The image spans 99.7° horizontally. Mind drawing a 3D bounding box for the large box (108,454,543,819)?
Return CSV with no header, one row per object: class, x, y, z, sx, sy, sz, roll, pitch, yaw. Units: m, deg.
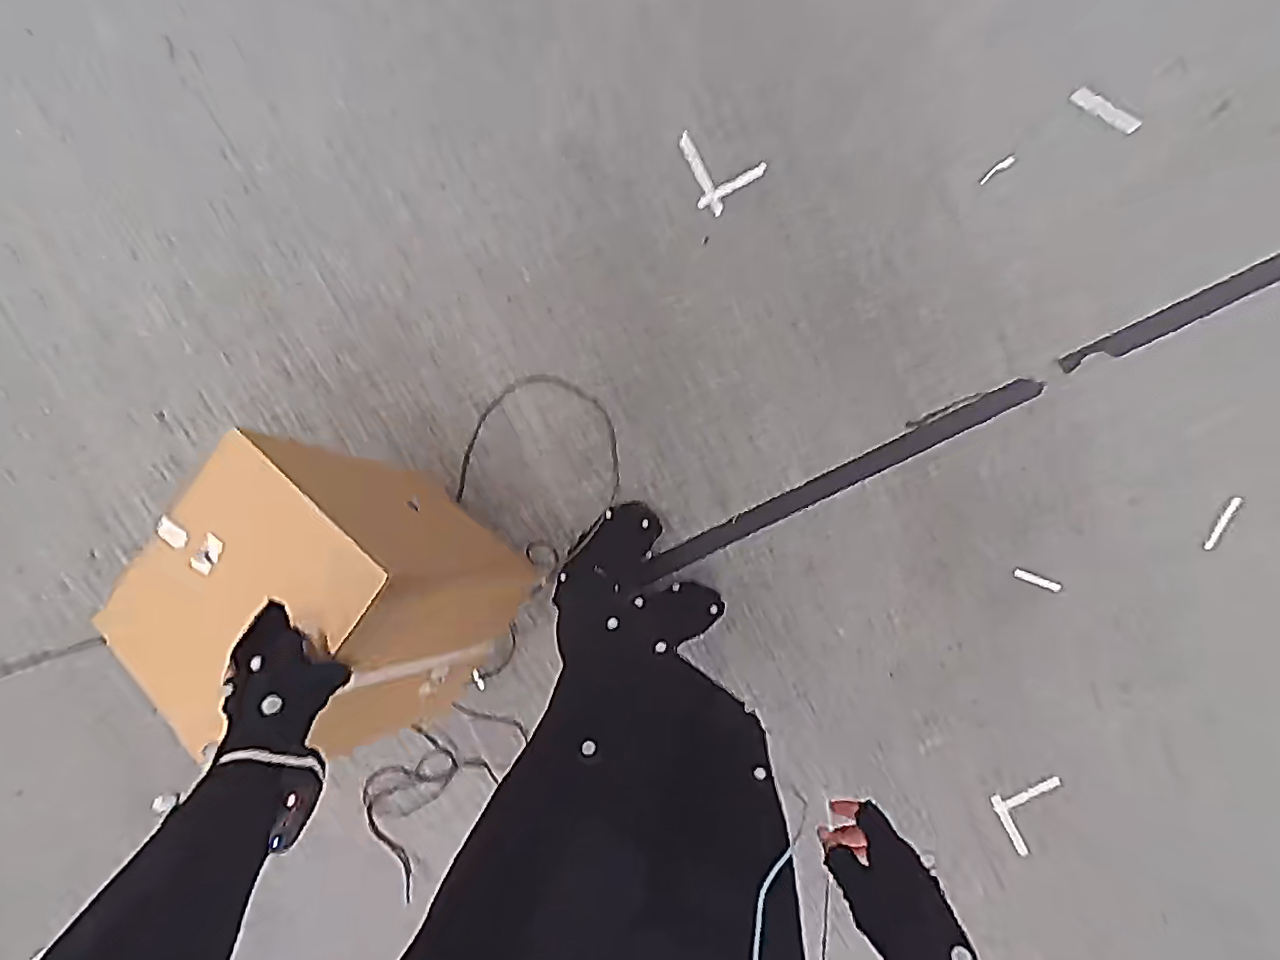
large box,-0.424,0.197,0.817,0.320,0.408,0.320,37,91,17
